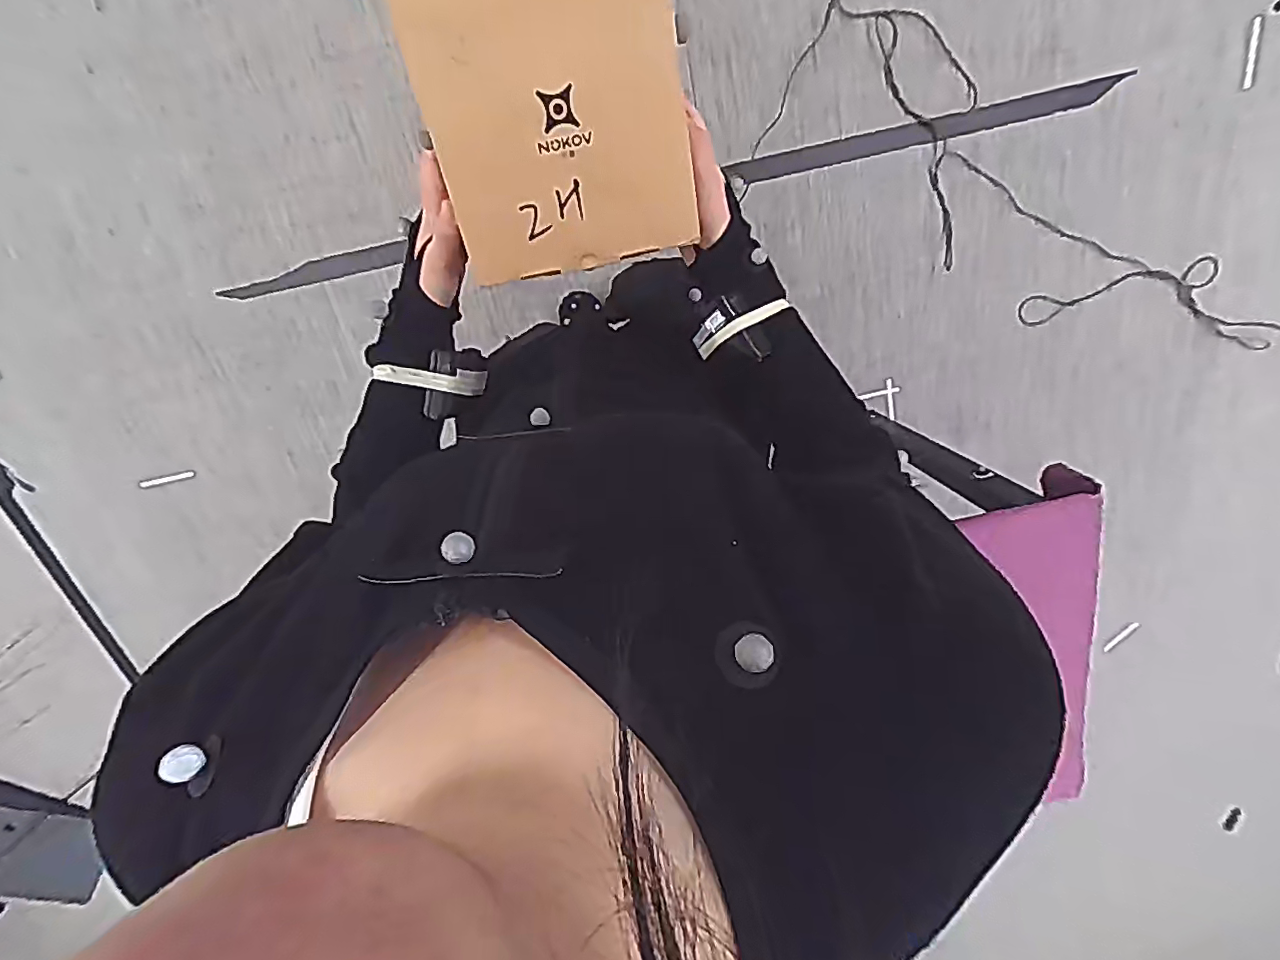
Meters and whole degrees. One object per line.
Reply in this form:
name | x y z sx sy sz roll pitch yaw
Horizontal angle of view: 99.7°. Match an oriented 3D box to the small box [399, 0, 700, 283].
small box | -0.059 -0.267 0.421 0.168 0.176 0.179 -12 118 -1
